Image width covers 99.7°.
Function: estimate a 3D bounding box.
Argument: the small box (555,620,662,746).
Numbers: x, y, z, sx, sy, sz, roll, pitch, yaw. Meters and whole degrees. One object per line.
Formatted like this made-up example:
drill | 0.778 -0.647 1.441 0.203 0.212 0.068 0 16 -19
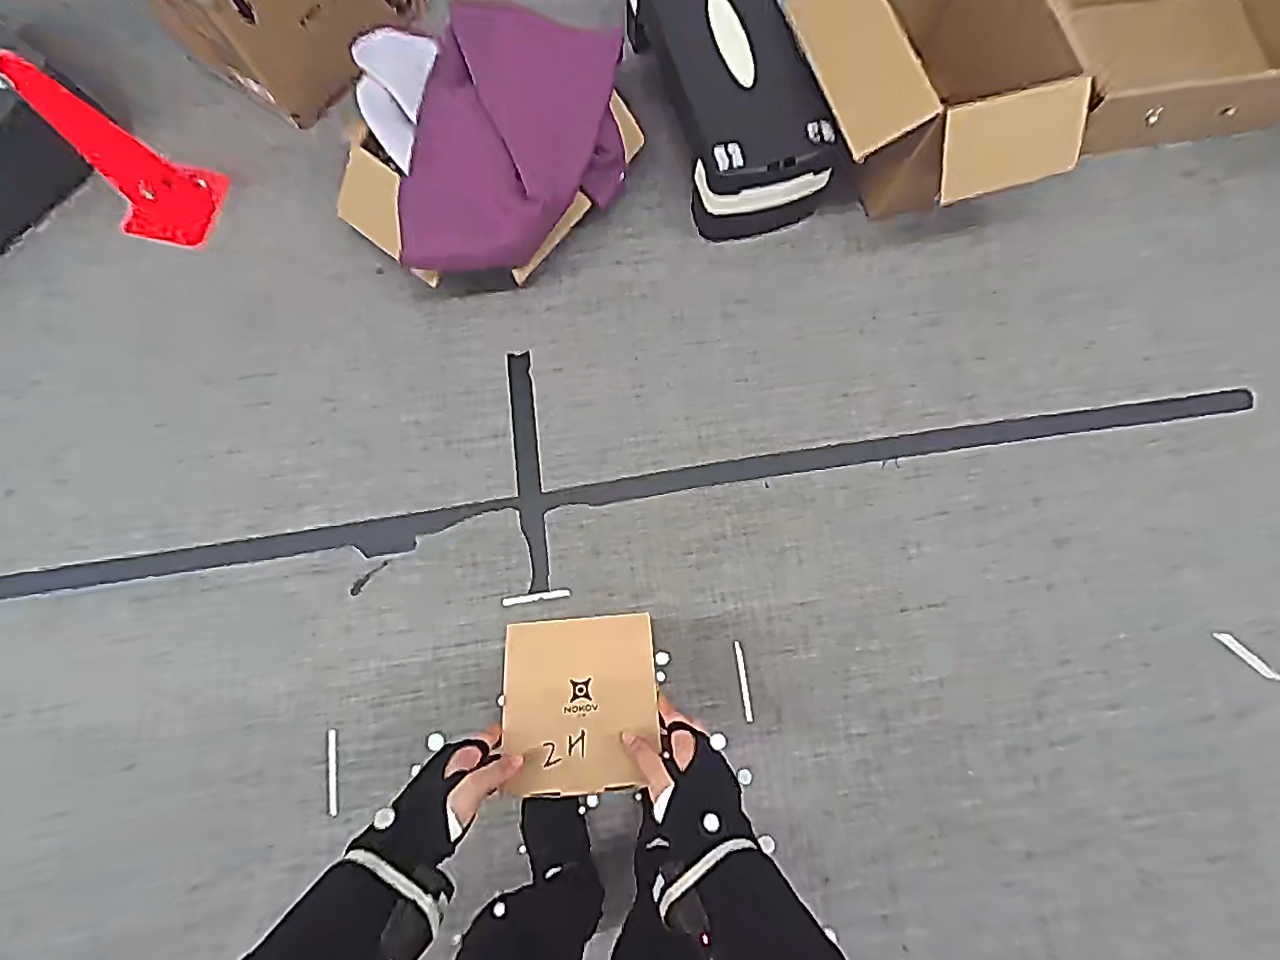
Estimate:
small box | -0.053 0.362 0.992 0.168 0.176 0.179 -9 79 -2
